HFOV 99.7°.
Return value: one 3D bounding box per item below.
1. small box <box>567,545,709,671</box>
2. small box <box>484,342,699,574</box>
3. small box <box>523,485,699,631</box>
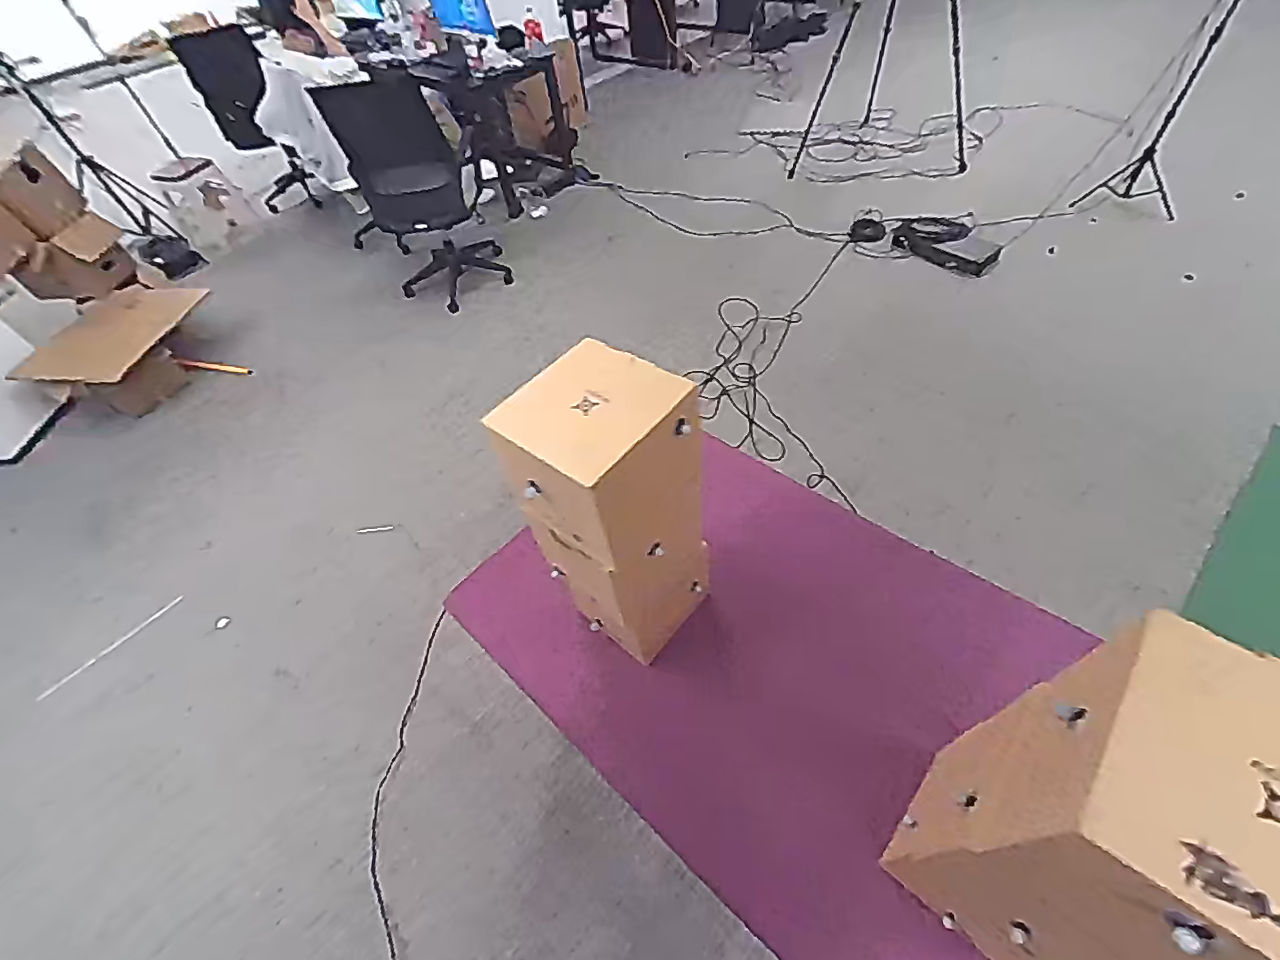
[{"bbox_3d":[-0.004,0.174,0.884,0.168,0.176,0.179,32,62,29],"label":"small box"},{"bbox_3d":[-0.041,-0.024,0.628,0.168,0.176,0.179,30,59,28],"label":"small box"},{"bbox_3d":[-0.028,0.076,0.755,0.168,0.176,0.179,32,60,29],"label":"small box"}]
